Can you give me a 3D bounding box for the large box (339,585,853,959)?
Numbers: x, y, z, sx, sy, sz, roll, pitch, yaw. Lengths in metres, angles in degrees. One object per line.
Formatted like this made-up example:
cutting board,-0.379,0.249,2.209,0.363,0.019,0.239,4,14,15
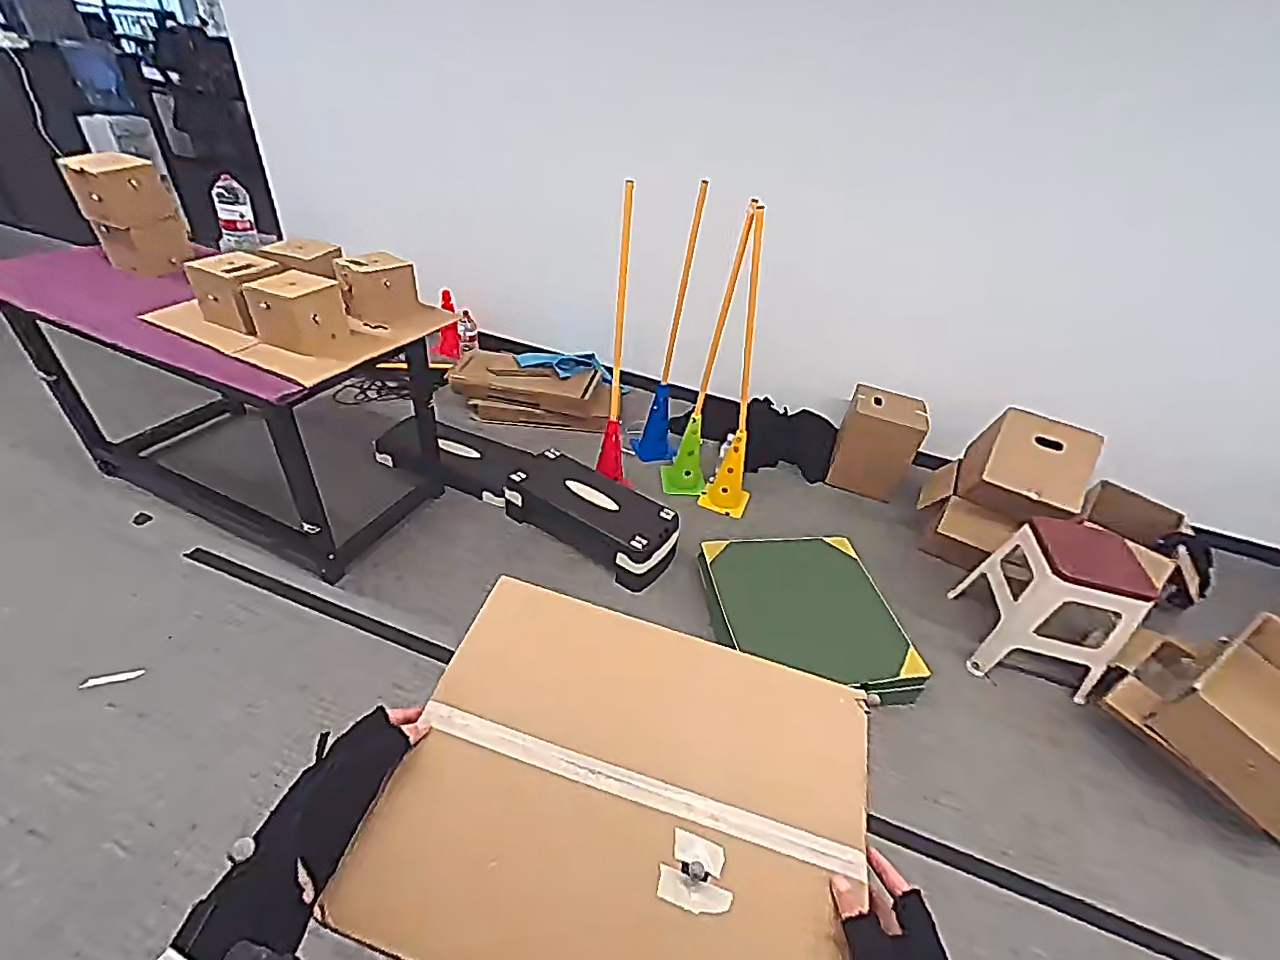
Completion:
large box,-0.022,0.374,0.602,0.408,0.320,0.320,16,48,7
